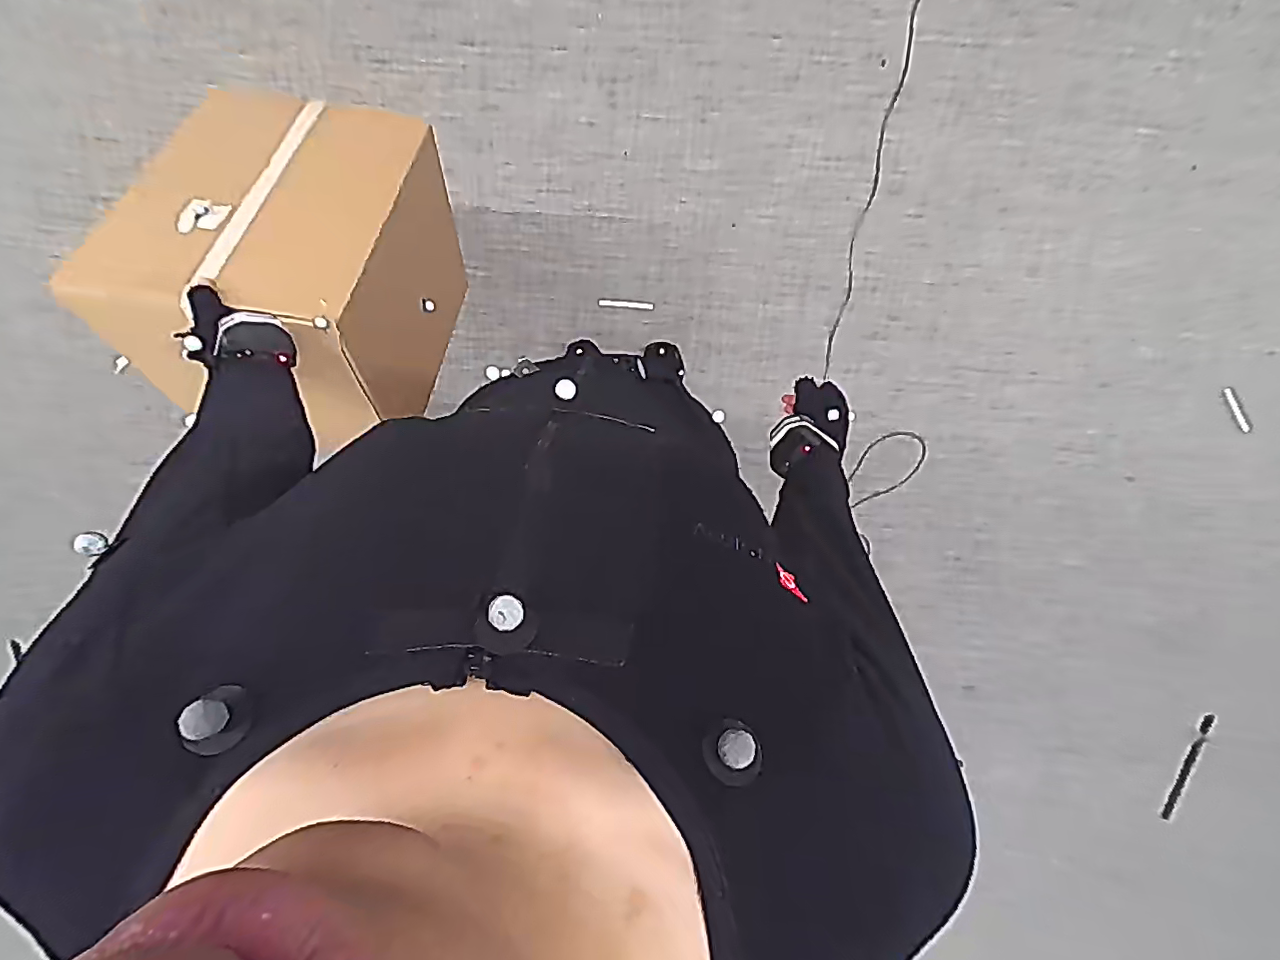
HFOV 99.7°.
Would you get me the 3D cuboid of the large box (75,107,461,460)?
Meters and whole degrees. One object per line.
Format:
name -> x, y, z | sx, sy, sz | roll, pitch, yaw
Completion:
large box -> -0.497, -0.290, 0.844 | 0.320, 0.320, 0.408 | 6, 62, -3
